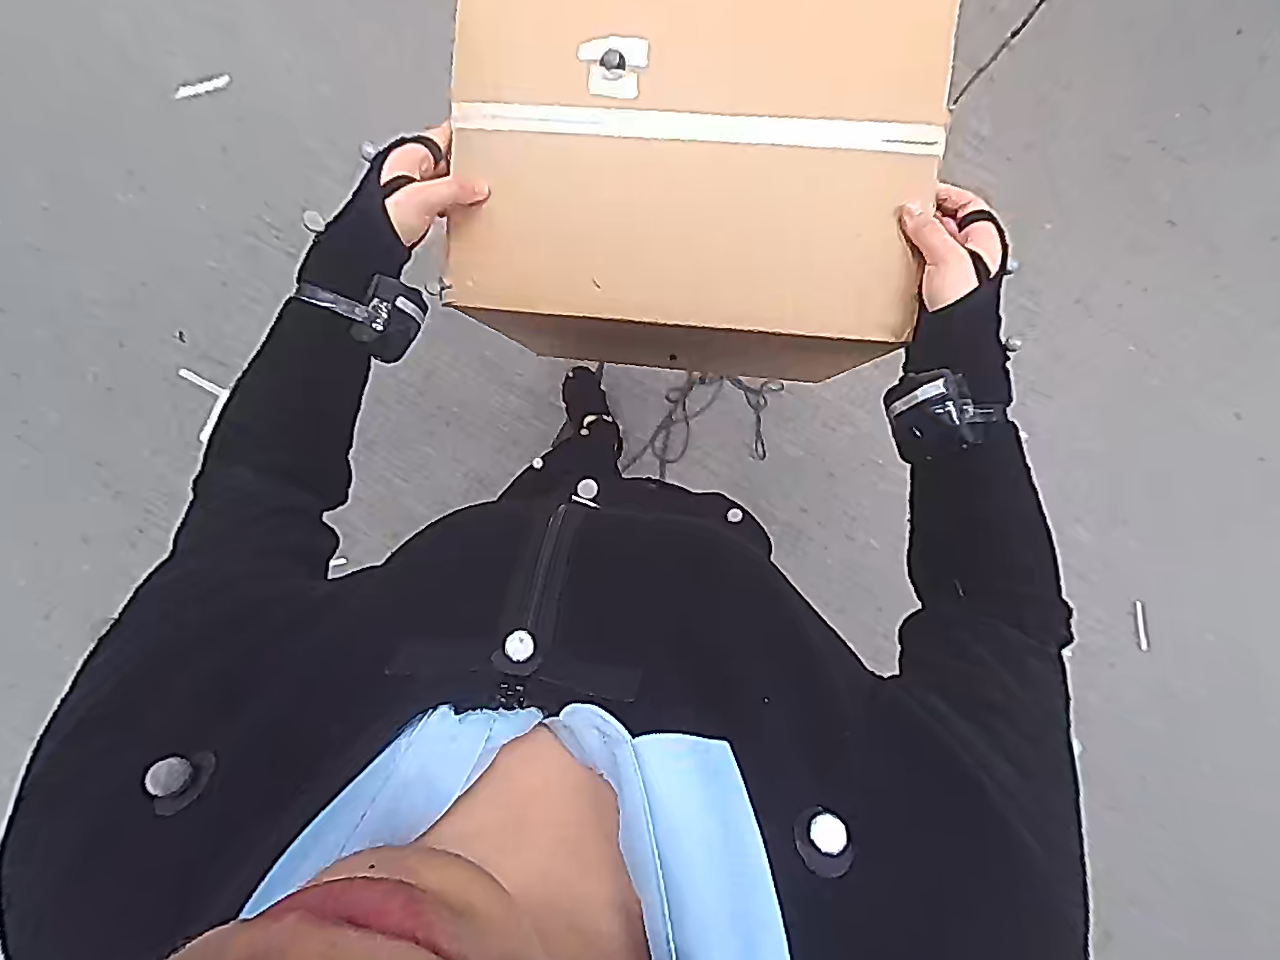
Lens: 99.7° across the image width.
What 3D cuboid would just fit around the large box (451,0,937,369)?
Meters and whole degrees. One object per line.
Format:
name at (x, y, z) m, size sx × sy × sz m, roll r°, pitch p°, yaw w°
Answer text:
large box at (0.052, -0.306, 0.609) m, size 0.408 × 0.320 × 0.320 m, roll 5°, pitch 93°, yaw 5°
